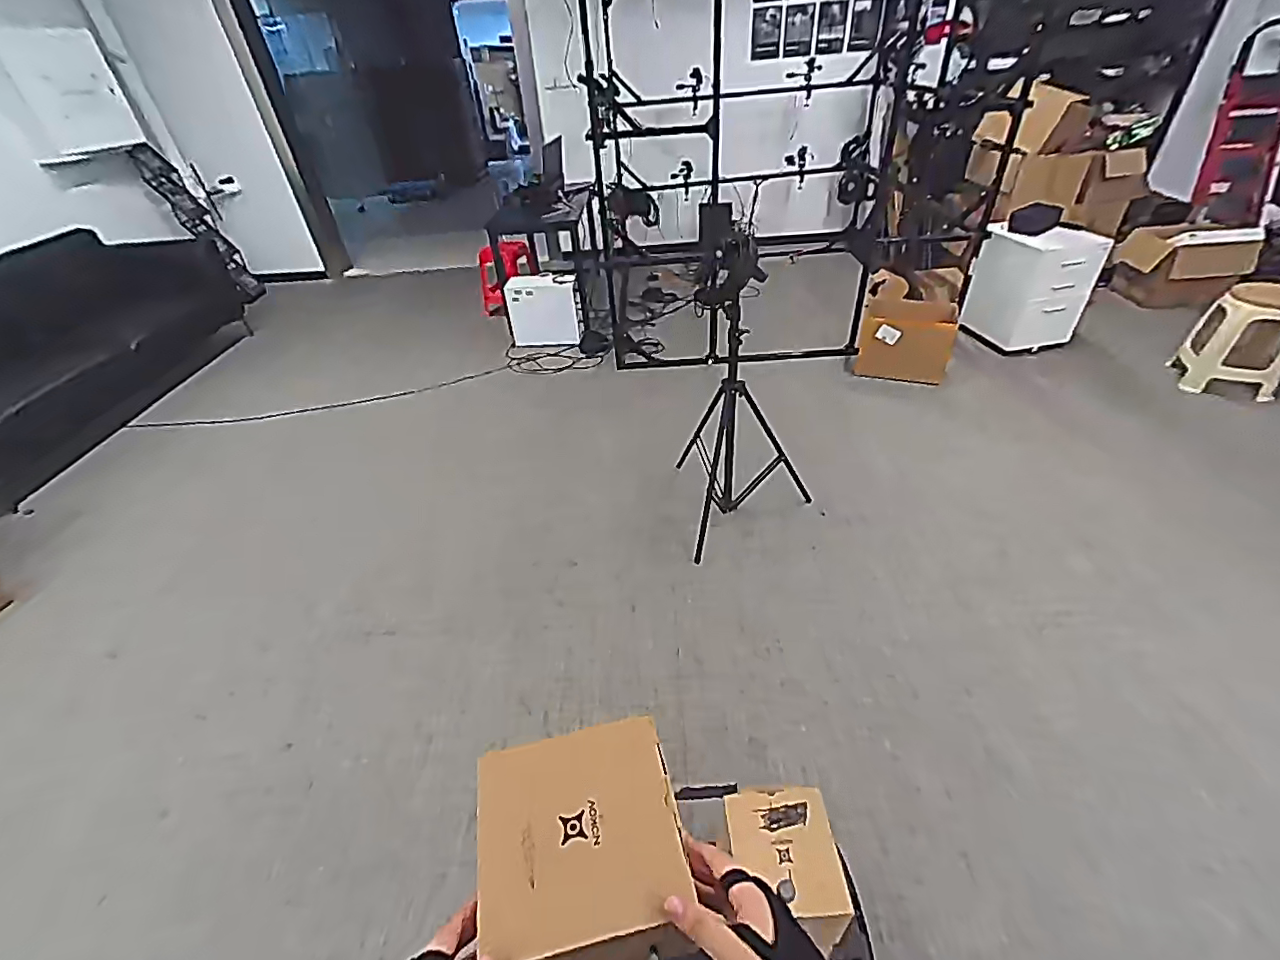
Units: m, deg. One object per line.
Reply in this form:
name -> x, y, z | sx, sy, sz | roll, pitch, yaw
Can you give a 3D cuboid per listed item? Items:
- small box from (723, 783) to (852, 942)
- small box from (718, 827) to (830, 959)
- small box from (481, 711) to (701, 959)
small box -> 0.234, 0.643, 0.912 | 0.168, 0.176, 0.179 | -6, 39, 1
small box -> 0.238, 0.774, 1.012 | 0.168, 0.176, 0.179 | -5, 39, 1
small box -> -0.048, 0.361, 0.531 | 0.179, 0.176, 0.168 | -12, 40, -8
